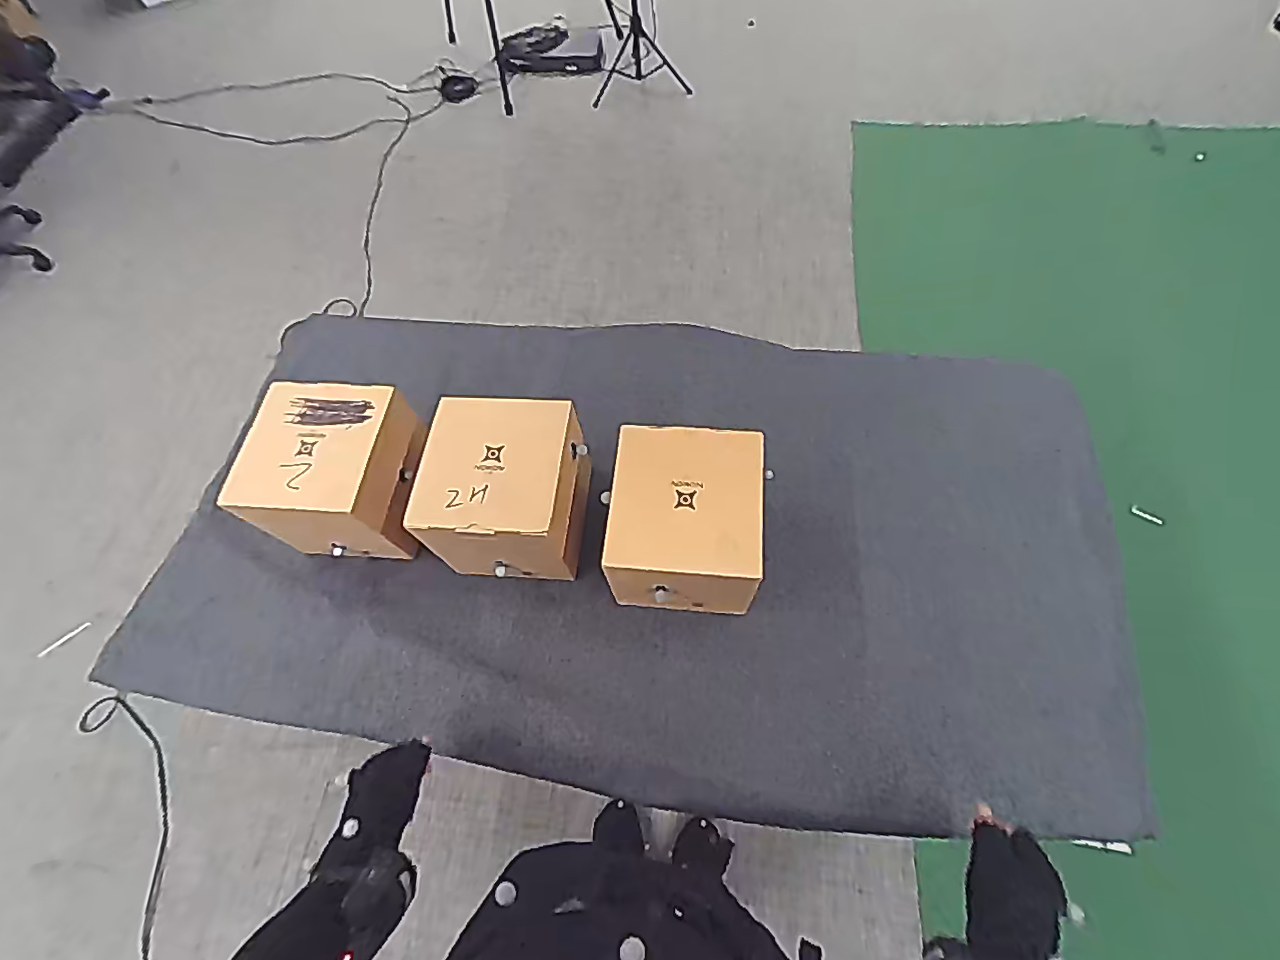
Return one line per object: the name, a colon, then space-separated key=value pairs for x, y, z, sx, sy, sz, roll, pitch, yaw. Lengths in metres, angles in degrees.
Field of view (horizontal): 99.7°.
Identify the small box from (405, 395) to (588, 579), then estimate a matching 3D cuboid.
small box: x=-0.164 y=0.013 z=0.691 sx=0.168 sy=0.176 sz=0.179 roll=3 pitch=63 yaw=6
